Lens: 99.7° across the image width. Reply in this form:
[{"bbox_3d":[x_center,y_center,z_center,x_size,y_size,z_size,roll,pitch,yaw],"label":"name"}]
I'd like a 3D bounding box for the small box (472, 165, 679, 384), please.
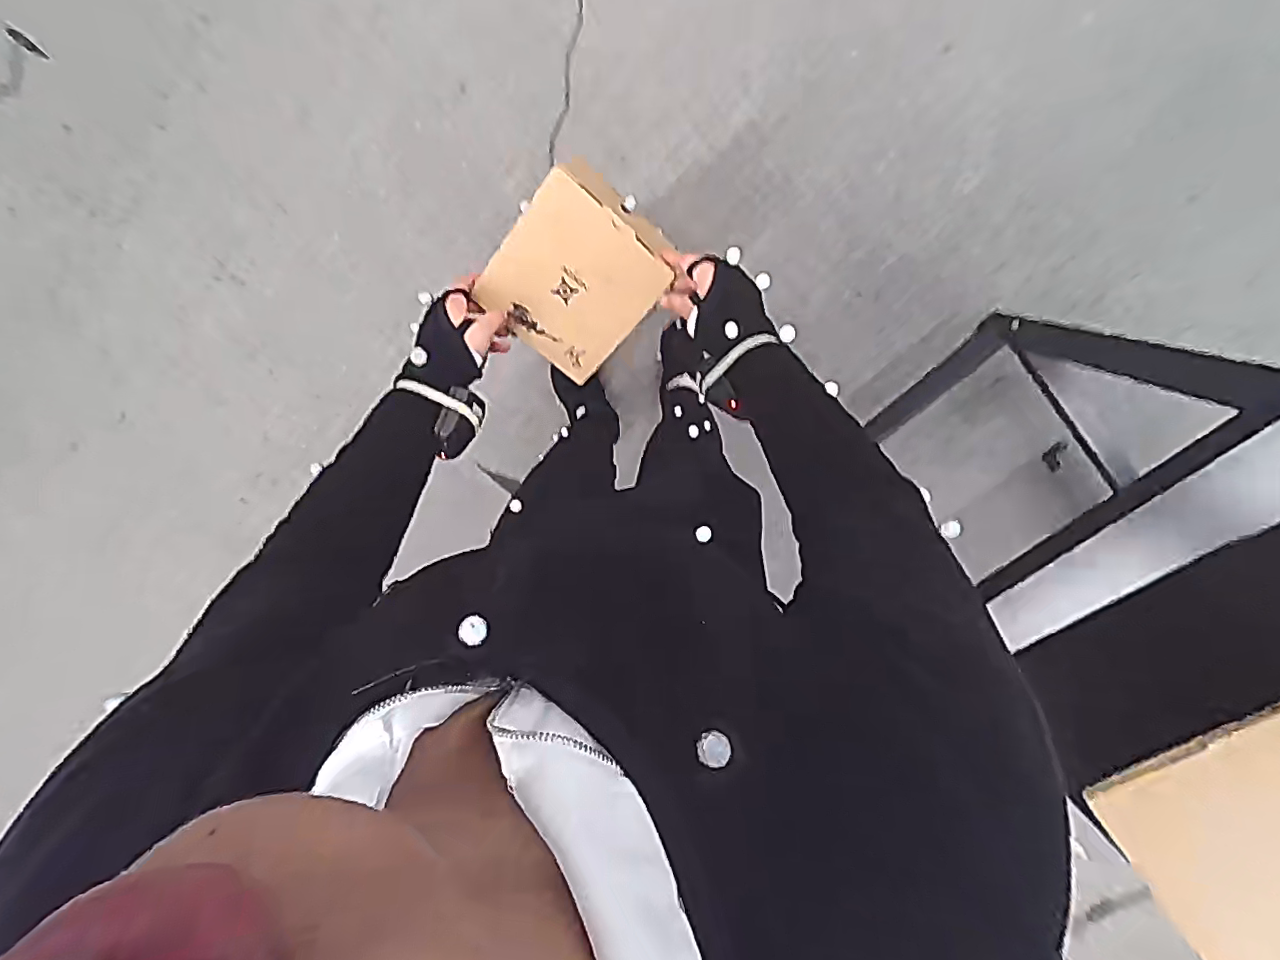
[{"bbox_3d":[-0.073,-0.258,0.666,0.168,0.176,0.179,37,116,-20],"label":"small box"}]
